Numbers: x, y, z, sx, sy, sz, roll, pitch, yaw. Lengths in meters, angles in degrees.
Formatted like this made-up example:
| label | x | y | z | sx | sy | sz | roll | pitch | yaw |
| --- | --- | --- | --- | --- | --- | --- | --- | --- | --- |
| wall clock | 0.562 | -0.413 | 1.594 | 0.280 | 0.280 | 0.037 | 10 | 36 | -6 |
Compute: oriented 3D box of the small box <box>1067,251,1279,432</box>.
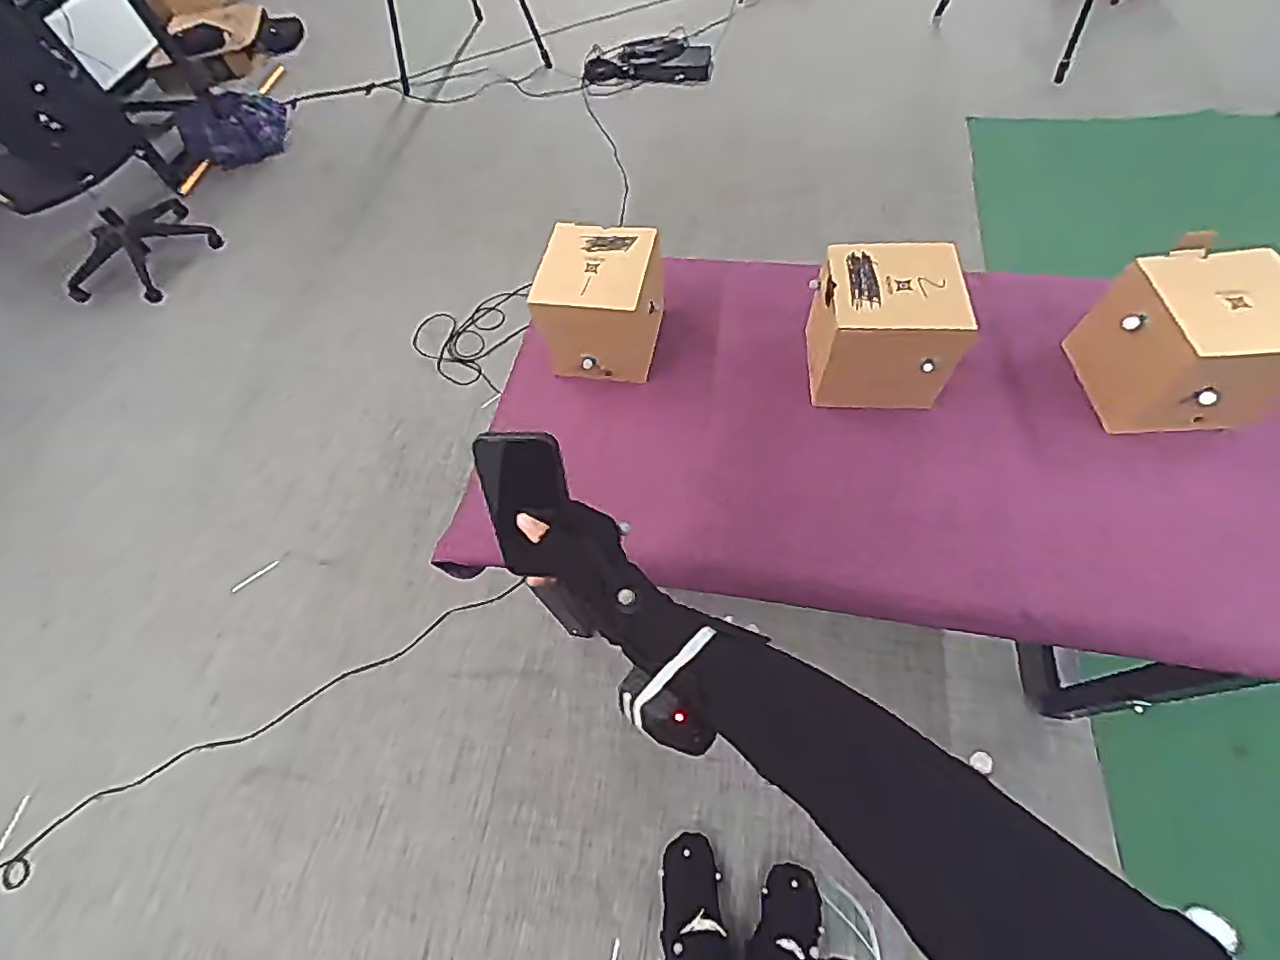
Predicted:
| label | x | y | z | sx | sy | sz | roll | pitch | yaw |
| --- | --- | --- | --- | --- | --- | --- | --- | --- | --- |
| small box | 0.735 | -0.176 | 0.731 | 0.168 | 0.176 | 0.179 | -3 | 60 | 5 |

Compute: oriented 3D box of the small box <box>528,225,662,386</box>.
| label | x | y | z | sx | sy | sz | roll | pitch | yaw |
| --- | --- | --- | --- | --- | --- | --- | --- | --- | --- |
| small box | -0.060 | -0.279 | 0.872 | 0.168 | 0.176 | 0.179 | 8 | 63 | 10 |
